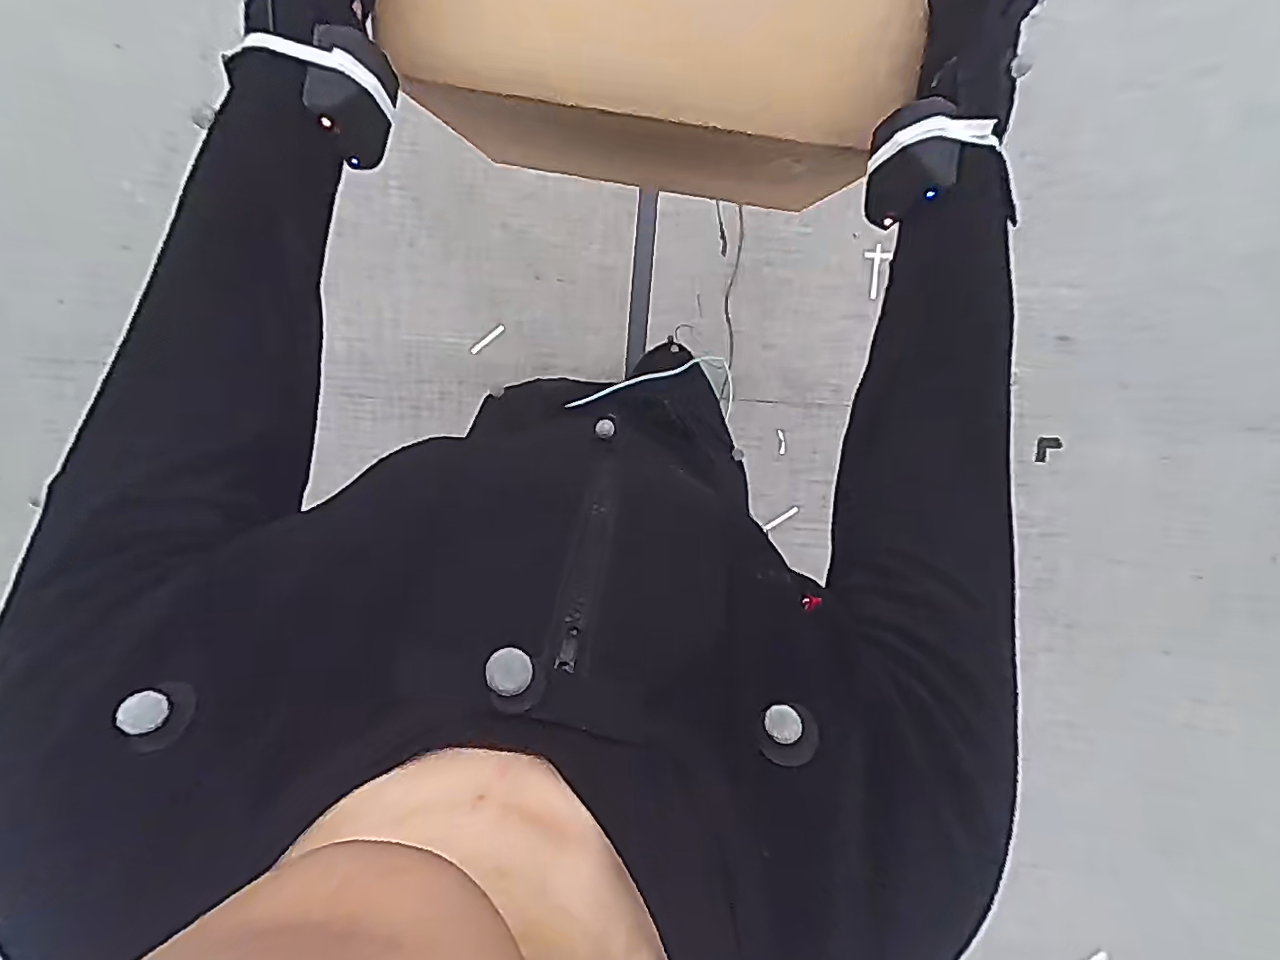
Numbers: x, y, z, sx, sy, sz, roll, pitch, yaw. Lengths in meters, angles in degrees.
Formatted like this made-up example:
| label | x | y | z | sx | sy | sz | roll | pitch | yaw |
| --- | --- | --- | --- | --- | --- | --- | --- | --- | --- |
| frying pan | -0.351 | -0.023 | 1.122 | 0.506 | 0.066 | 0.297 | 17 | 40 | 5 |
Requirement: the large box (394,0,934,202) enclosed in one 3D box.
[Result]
| label | x | y | z | sx | sy | sz | roll | pitch | yaw |
| --- | --- | --- | --- | --- | --- | --- | --- | --- | --- |
| large box | 0.029 | -0.481 | 0.512 | 0.408 | 0.320 | 0.320 | 8 | 110 | -2 |
